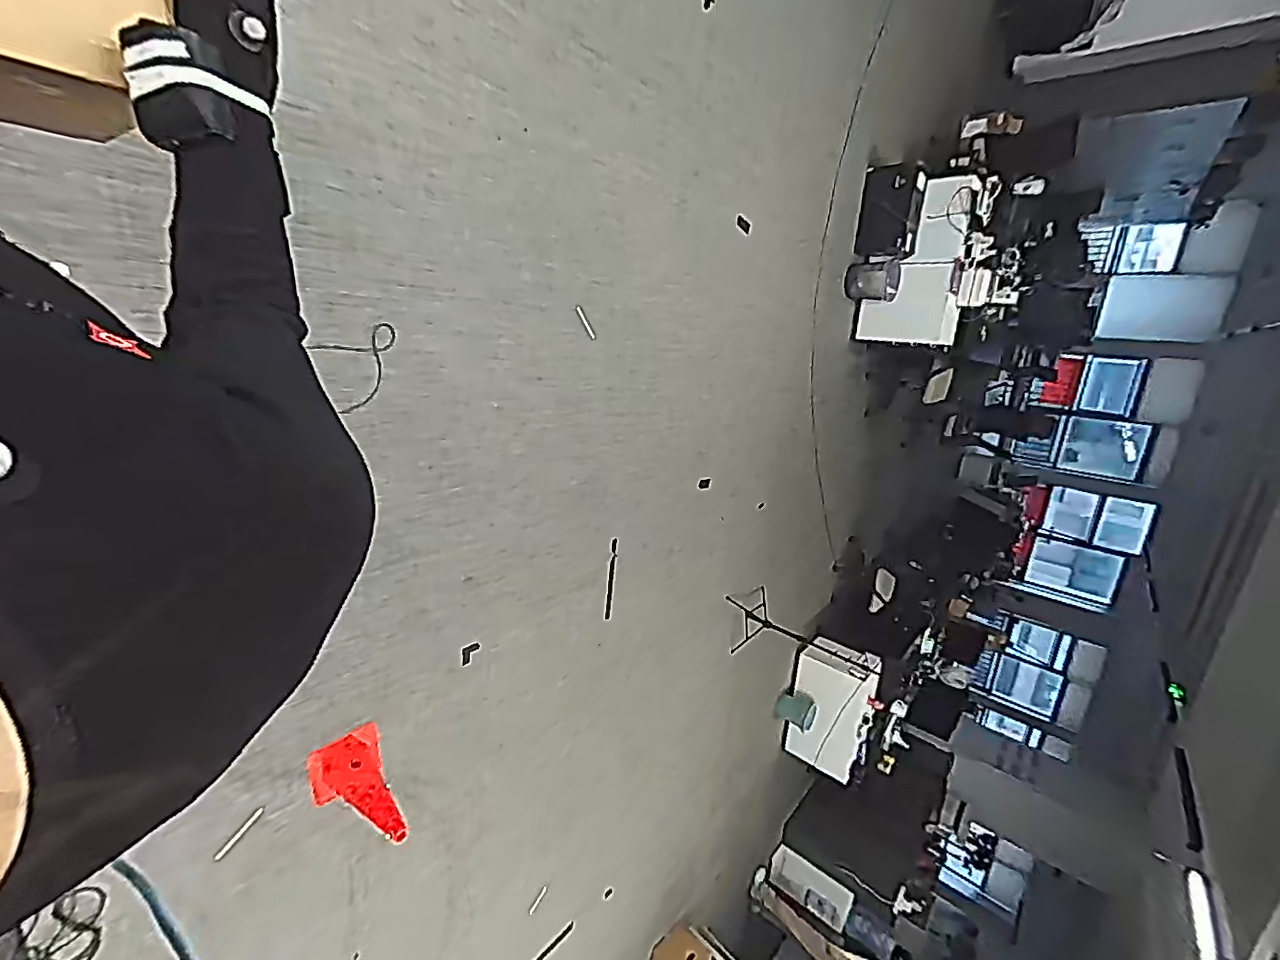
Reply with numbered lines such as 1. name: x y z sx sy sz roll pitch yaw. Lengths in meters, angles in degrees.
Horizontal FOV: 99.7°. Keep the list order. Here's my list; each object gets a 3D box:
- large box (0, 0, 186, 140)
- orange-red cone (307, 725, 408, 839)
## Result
1. large box: -0.562 -0.425 0.289 0.408 0.320 0.320 -16 118 -50
2. orange-red cone: -0.776 0.910 1.555 0.198 0.360 0.199 -17 115 -48
